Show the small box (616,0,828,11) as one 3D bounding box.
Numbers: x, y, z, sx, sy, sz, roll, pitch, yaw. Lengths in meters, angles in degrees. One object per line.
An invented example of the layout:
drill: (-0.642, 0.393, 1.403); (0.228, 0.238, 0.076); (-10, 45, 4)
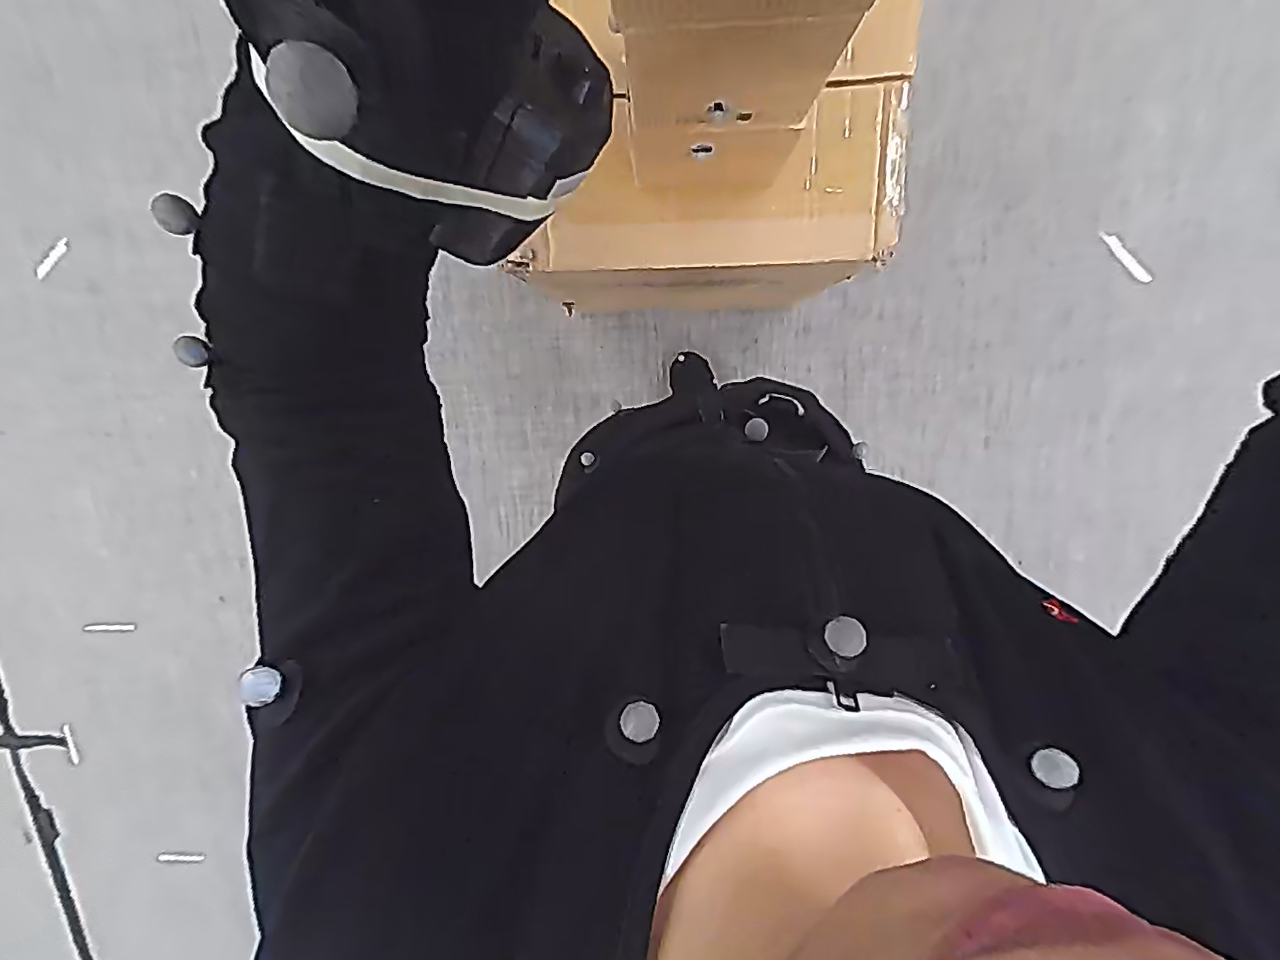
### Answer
small box: (0.062, -0.376, 0.265); (0.179, 0.176, 0.168); (0, 102, 3)

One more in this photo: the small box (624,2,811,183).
small box: (0.077, -0.438, 0.588); (0.179, 0.176, 0.168); (0, 102, 3)
